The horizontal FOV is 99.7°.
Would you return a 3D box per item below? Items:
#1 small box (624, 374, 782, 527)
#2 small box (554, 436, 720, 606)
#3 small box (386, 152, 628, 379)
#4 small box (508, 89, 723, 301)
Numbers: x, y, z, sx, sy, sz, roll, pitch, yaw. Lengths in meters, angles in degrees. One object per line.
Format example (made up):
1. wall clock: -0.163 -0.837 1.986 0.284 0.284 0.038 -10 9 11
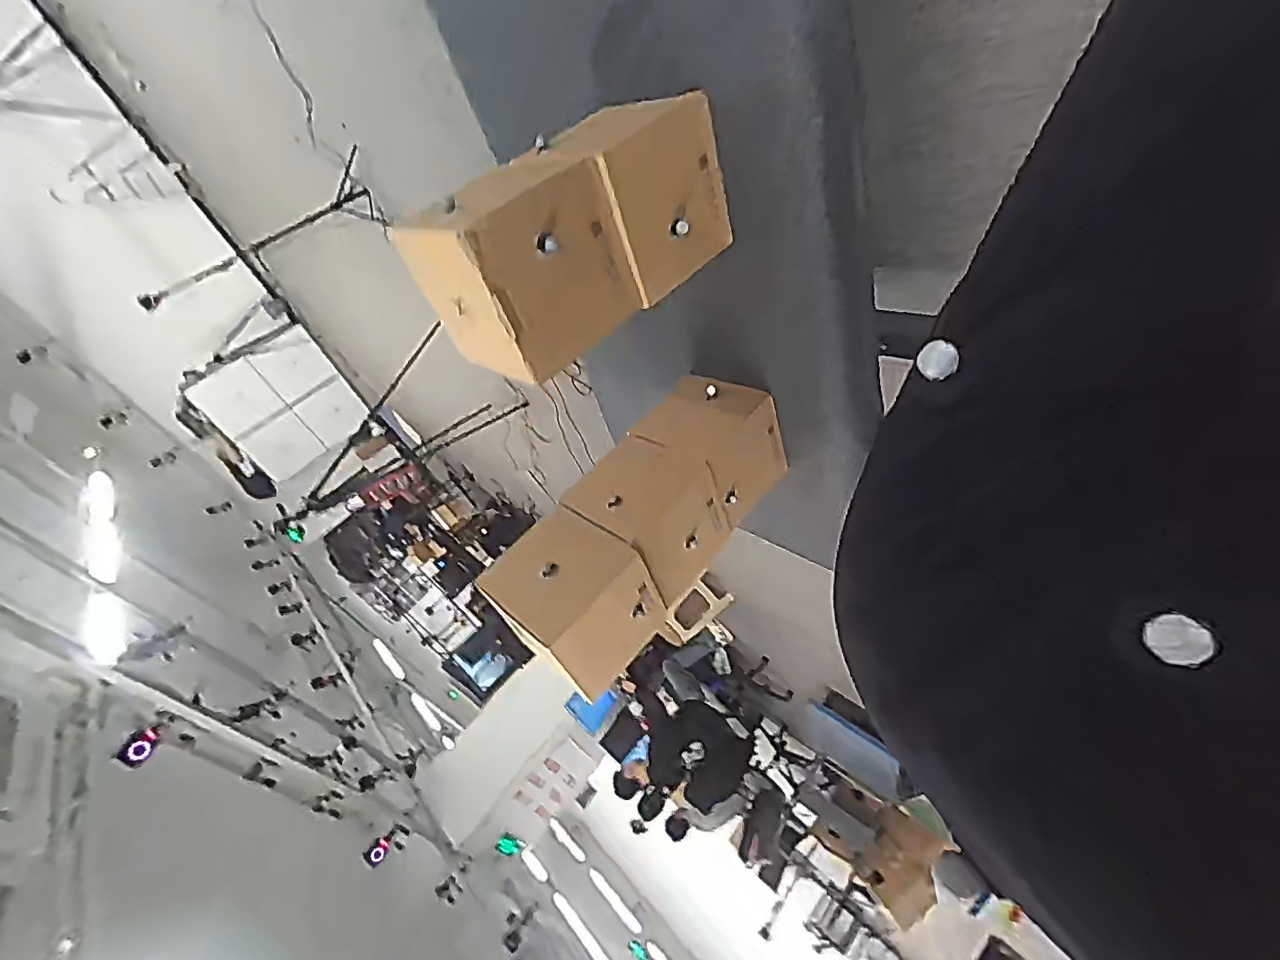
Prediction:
1. small box: 0.110 -0.057 0.900 0.179 0.176 0.168 24 149 43
2. small box: 0.006 0.055 0.836 0.179 0.176 0.168 25 148 42
3. small box: -0.133 -0.240 0.595 0.179 0.176 0.168 27 150 42
4. small box: -0.018 -0.340 0.650 0.179 0.176 0.168 26 151 40
